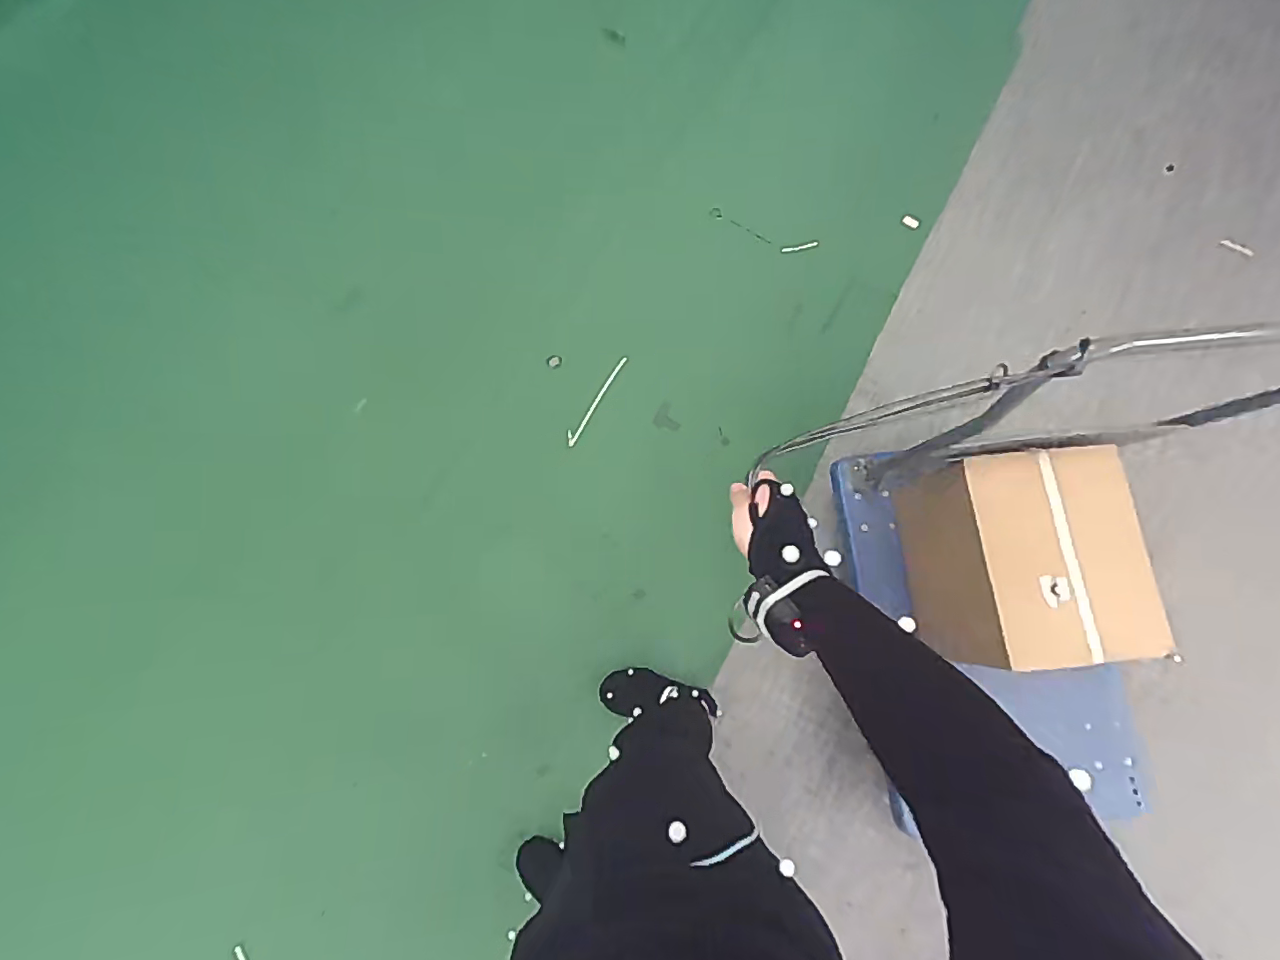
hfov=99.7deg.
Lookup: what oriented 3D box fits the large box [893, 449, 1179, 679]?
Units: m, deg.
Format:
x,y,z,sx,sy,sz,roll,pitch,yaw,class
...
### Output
x,y,z,sx,sy,sz,roll,pitch,yaw,class
0.795,0.177,1.152,0.320,0.320,0.408,-6,78,-2,large box
